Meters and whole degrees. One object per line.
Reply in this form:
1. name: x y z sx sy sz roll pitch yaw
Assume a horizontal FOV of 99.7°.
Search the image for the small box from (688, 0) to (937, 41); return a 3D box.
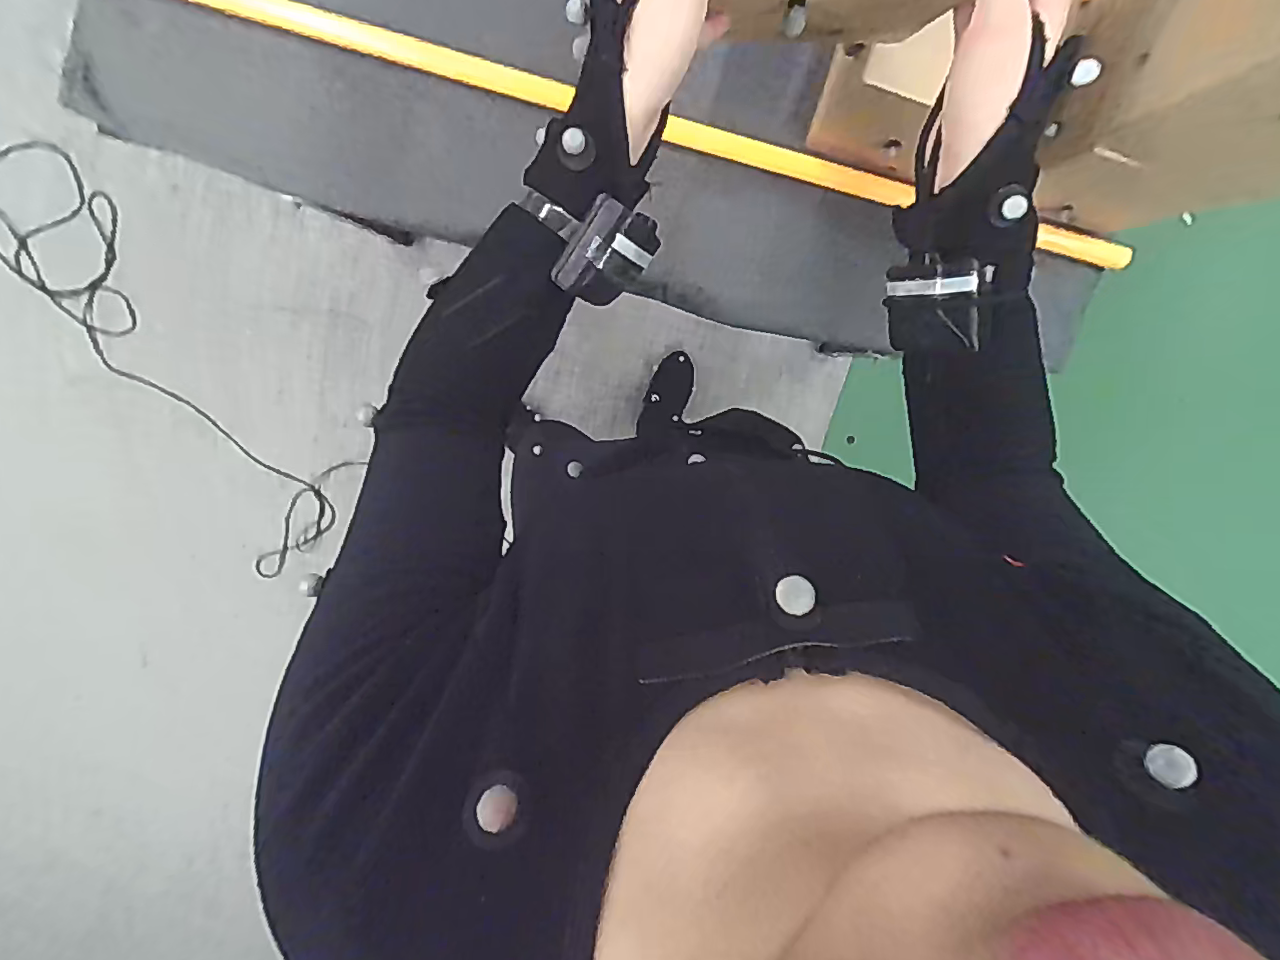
1. small box: 0.114 -0.379 0.312 0.168 0.176 0.179 2 116 3
